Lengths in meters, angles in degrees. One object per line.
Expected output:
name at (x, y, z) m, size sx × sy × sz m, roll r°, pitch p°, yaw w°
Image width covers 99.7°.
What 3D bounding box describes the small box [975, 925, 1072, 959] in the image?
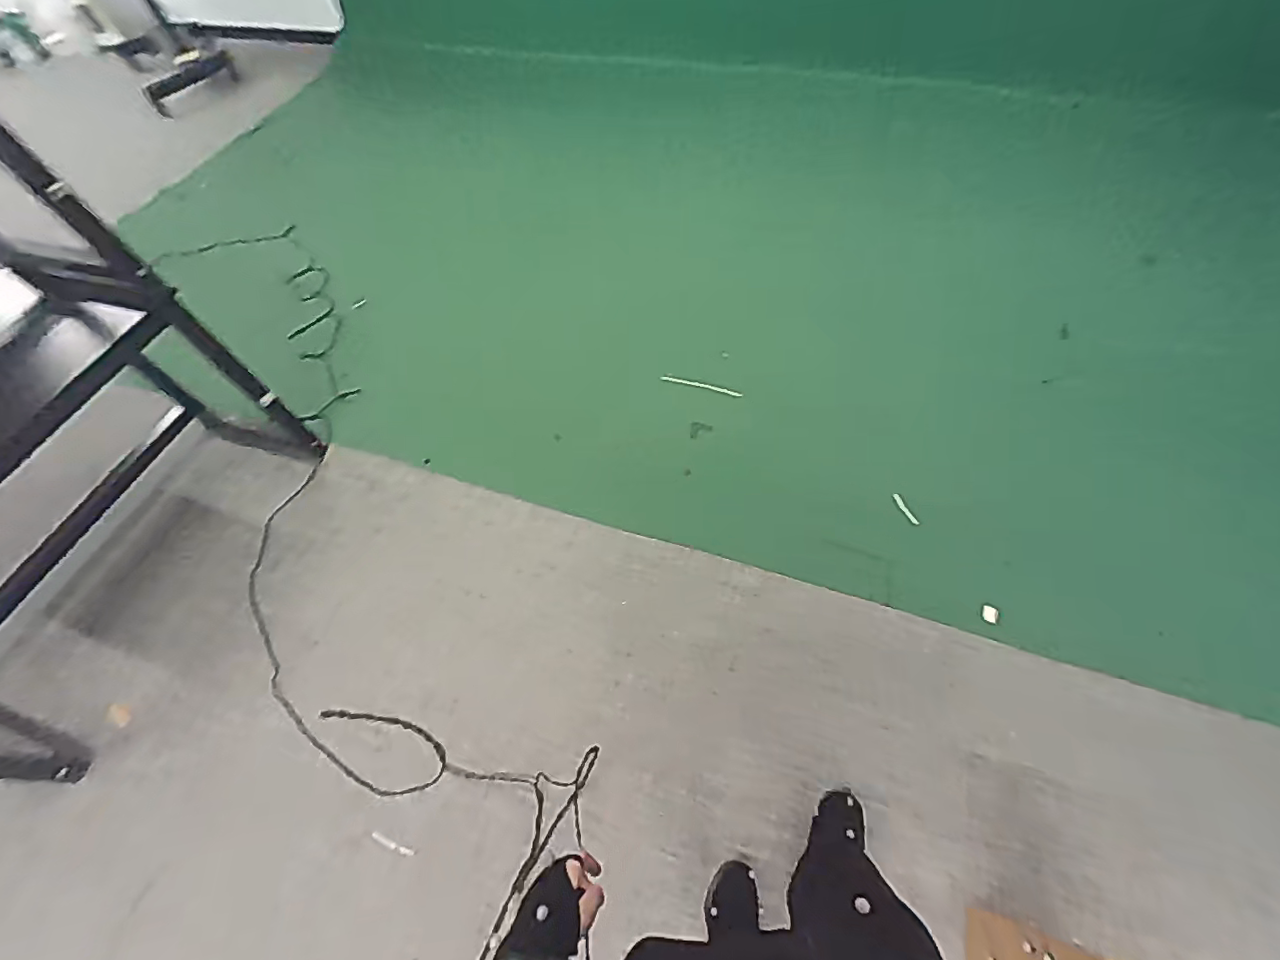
small box at (0.777, 1.015, 1.059) m, size 0.168 × 0.176 × 0.179 m, roll 15°, pitch 61°, yaw 15°
